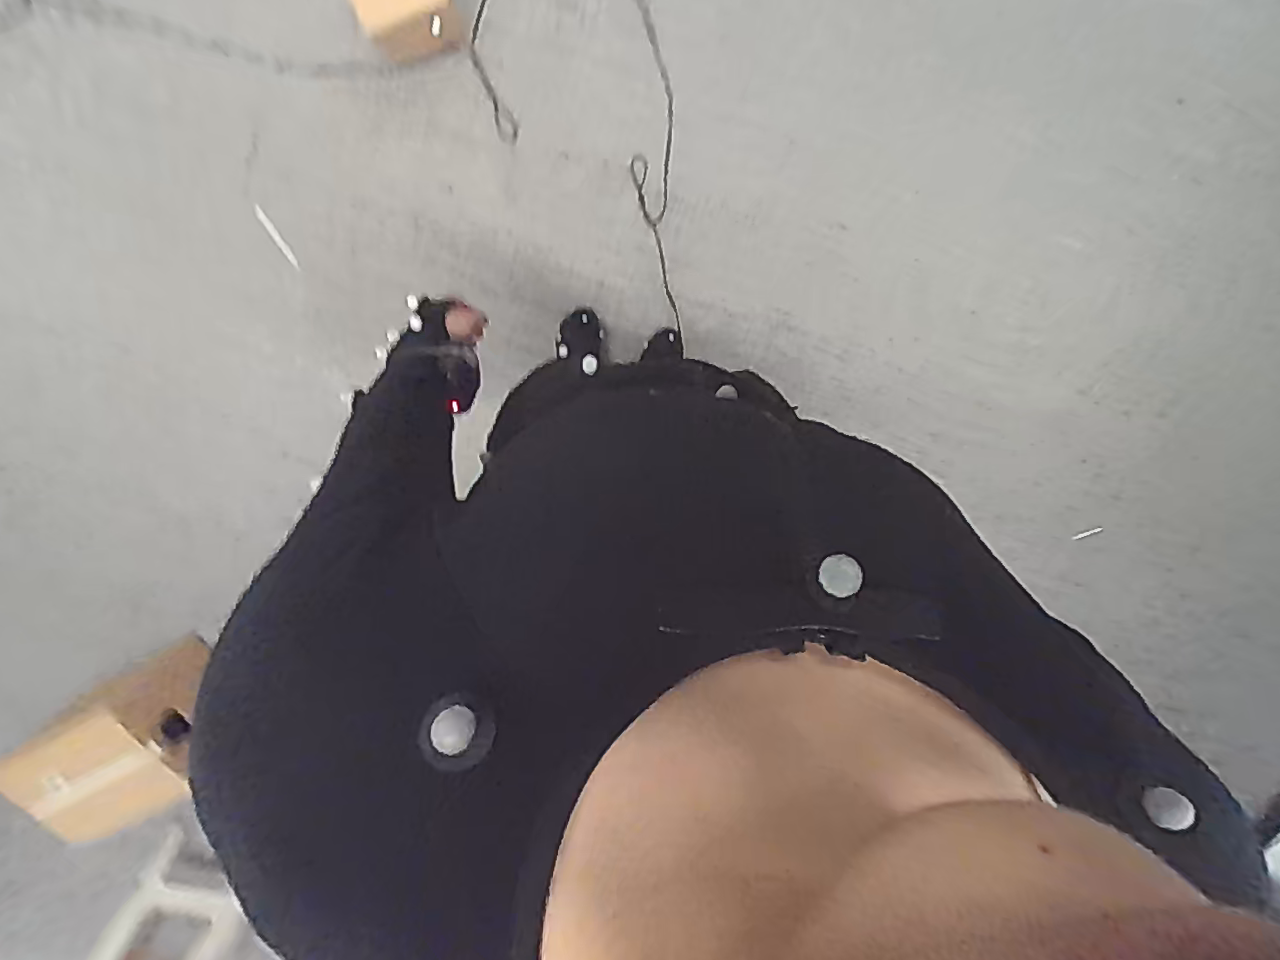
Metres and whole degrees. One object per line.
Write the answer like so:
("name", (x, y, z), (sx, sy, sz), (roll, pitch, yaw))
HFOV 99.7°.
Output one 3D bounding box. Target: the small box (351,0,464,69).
("small box", (-0.467, -0.961, 1.066), (0.179, 0.176, 0.168), (-20, 109, 3))
